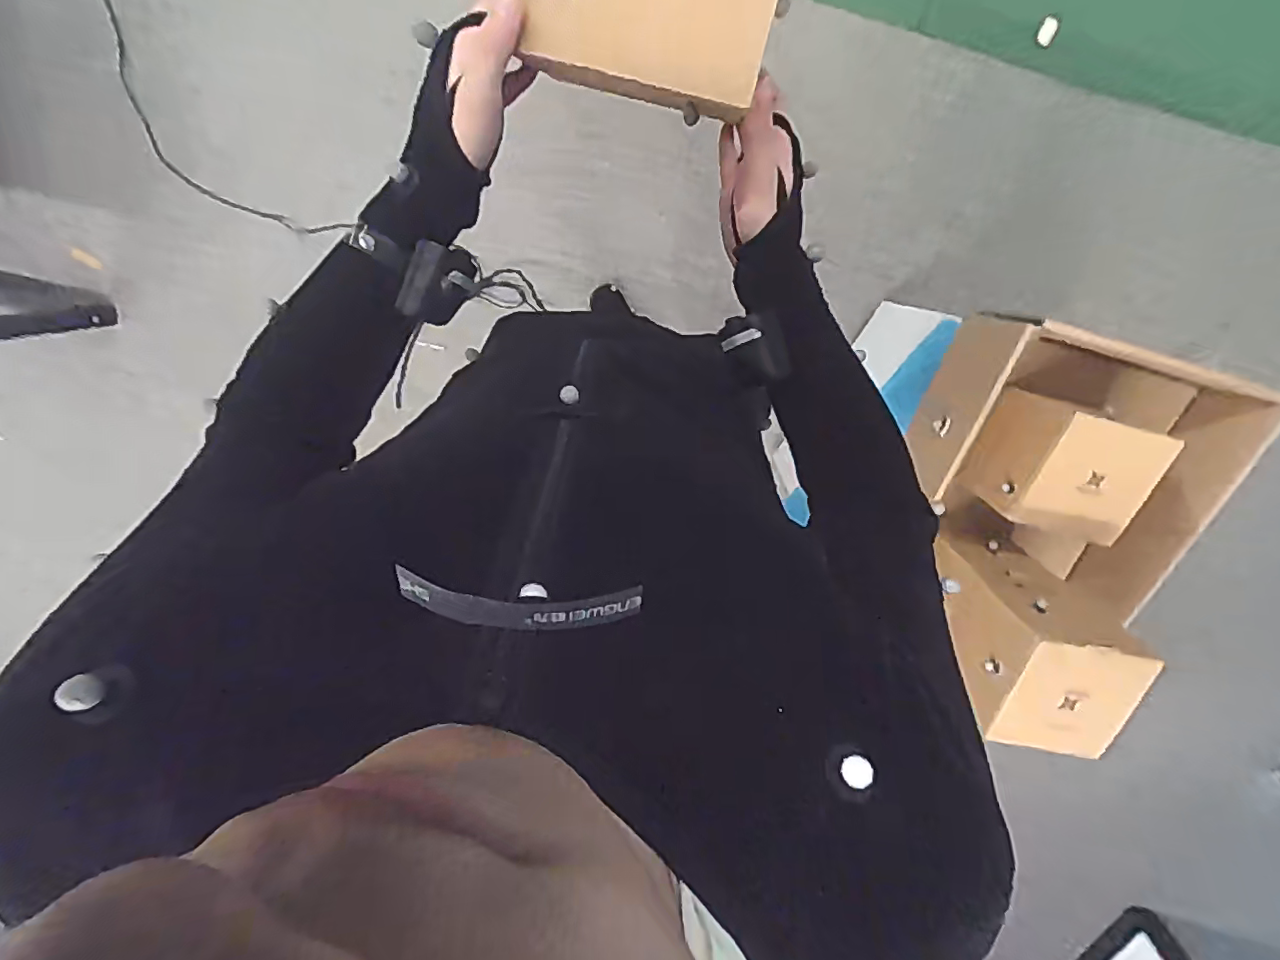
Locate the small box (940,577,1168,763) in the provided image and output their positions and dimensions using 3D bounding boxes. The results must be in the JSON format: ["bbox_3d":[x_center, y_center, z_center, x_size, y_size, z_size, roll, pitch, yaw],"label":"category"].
[{"bbox_3d":[0.572,0.264,0.780,0.168,0.176,0.179,11,113,-1],"label":"small box"}]
